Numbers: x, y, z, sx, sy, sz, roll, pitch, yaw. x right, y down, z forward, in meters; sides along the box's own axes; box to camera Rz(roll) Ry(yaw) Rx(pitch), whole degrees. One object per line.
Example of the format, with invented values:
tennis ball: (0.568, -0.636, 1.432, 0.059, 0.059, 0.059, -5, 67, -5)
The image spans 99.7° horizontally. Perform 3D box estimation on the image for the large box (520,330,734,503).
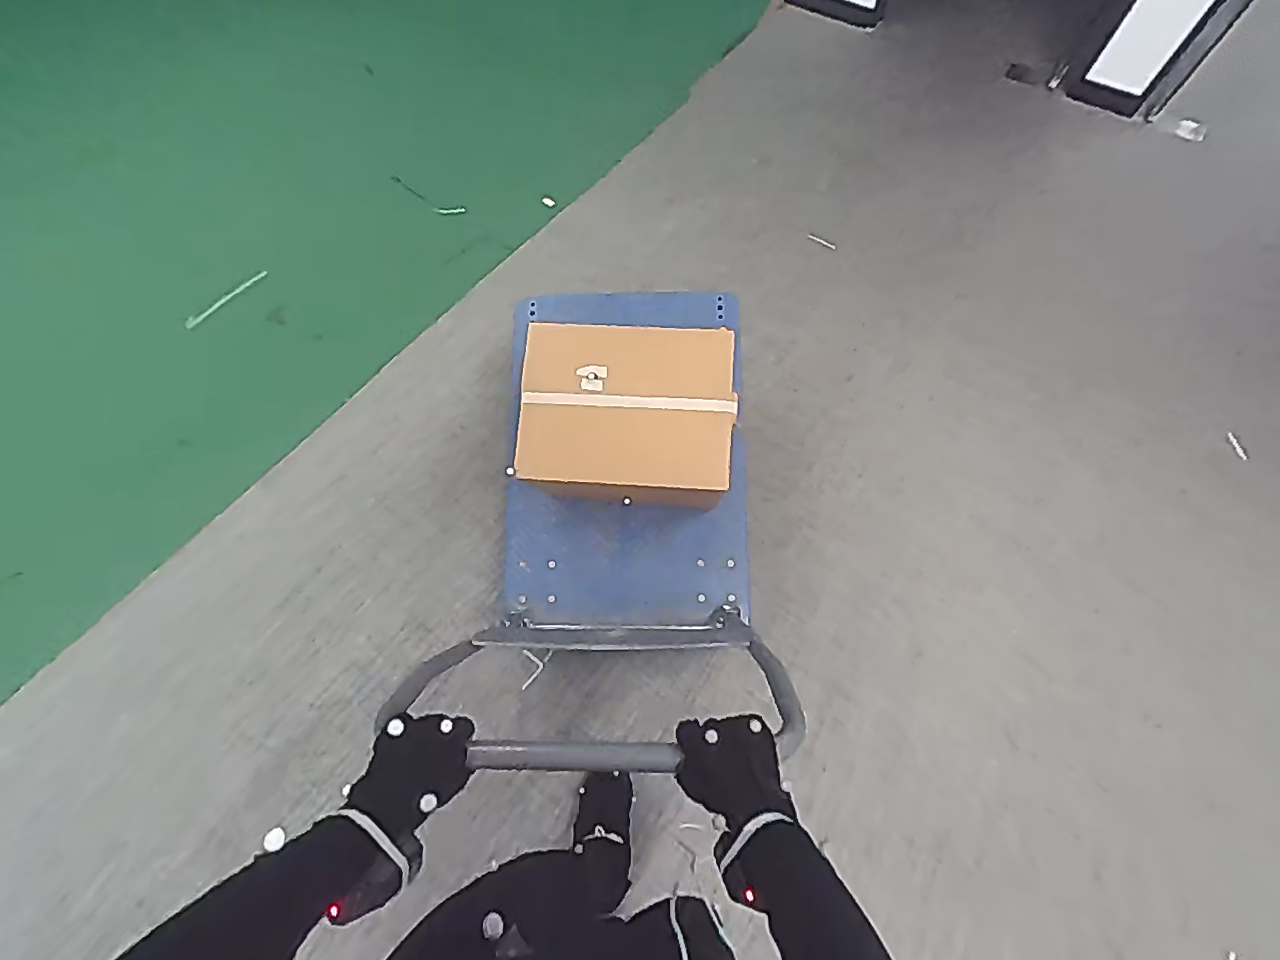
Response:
large box: (-0.009, -0.117, 1.169, 0.408, 0.320, 0.320, 2, 81, 5)
